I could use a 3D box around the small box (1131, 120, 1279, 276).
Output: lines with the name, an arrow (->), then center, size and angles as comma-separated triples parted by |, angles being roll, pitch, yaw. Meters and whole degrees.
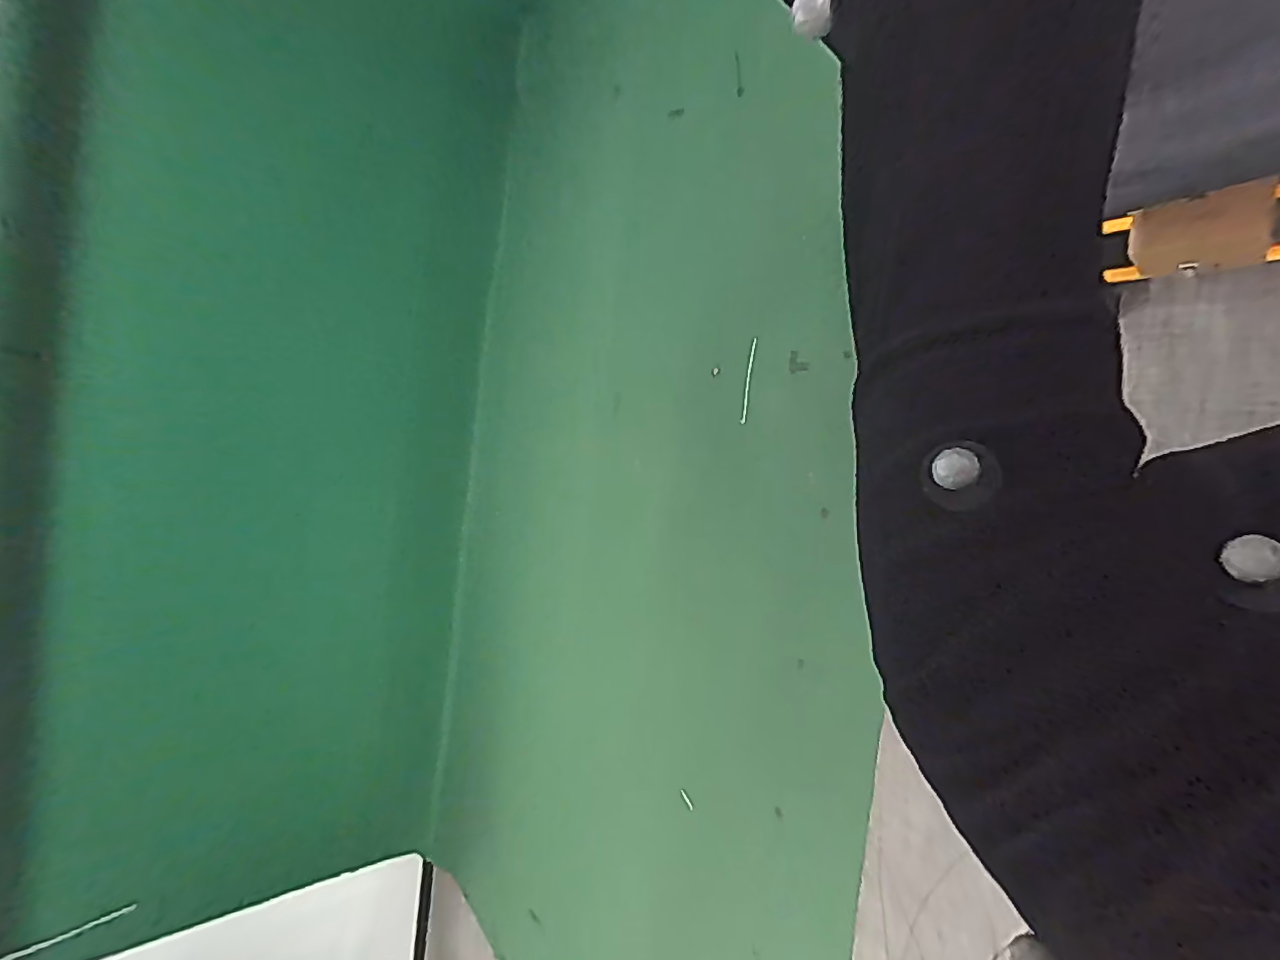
small box -> 1.013, -0.488, 0.967 | 0.168, 0.176, 0.179 | 8, 94, 51
